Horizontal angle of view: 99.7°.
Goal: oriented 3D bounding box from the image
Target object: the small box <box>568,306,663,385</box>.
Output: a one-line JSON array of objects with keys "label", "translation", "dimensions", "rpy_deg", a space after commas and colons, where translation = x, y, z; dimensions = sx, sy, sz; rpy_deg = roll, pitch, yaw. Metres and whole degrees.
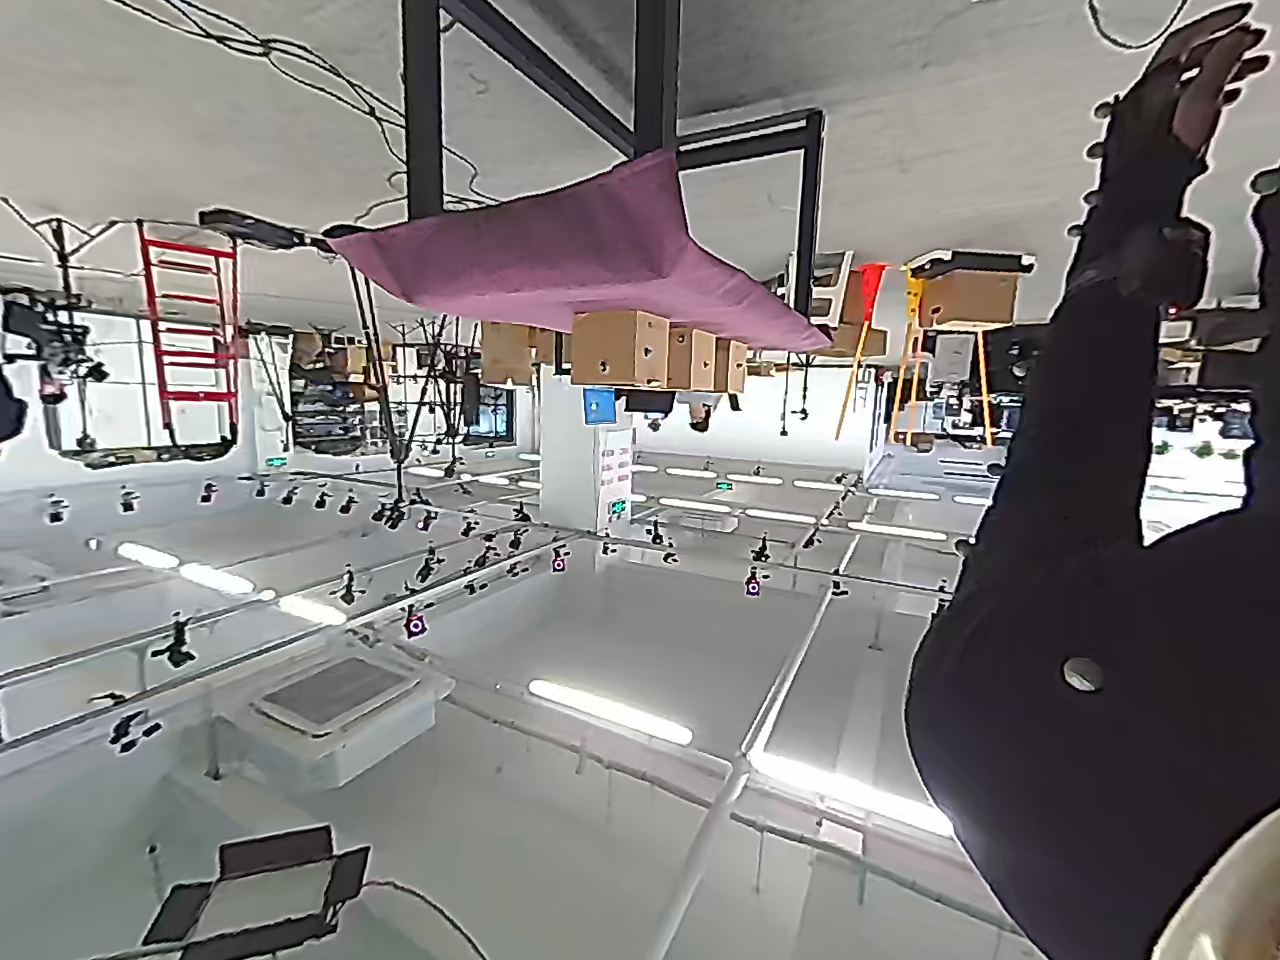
[{"label": "small box", "translation": [-0.056, -0.313, 1.277], "dimensions": [0.179, 0.176, 0.168], "rpy_deg": [7, -170, 27]}]

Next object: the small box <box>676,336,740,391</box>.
[{"label": "small box", "translation": [0.231, -0.388, 1.812], "dimensions": [0.179, 0.176, 0.168], "rpy_deg": [6, -171, 28]}]

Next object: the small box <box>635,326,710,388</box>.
[{"label": "small box", "translation": [0.096, -0.352, 1.556], "dimensions": [0.168, 0.176, 0.179], "rpy_deg": [7, -169, 28]}]
